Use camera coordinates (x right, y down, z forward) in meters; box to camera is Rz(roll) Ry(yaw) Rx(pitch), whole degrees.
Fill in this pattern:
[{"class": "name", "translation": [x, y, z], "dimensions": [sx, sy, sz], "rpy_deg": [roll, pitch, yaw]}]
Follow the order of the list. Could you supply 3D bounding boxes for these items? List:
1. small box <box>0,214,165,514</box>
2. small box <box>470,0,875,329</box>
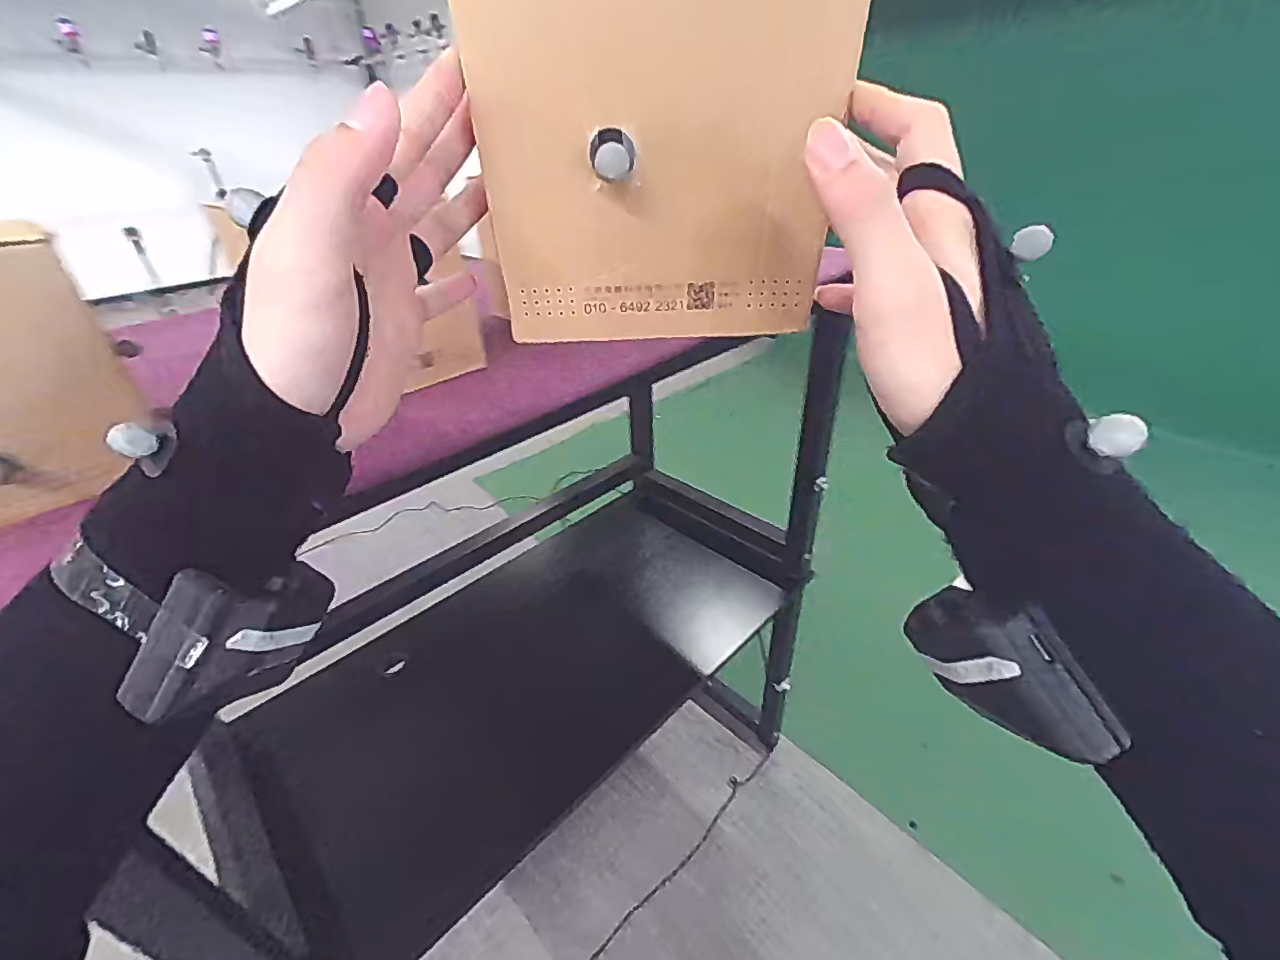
[{"class": "small box", "translation": [-0.472, -0.077, 0.371], "dimensions": [0.168, 0.176, 0.179], "rpy_deg": [25, 41, 36]}, {"class": "small box", "translation": [0.018, -0.196, 0.312], "dimensions": [0.168, 0.176, 0.179], "rpy_deg": [-2, 40, 1]}]
